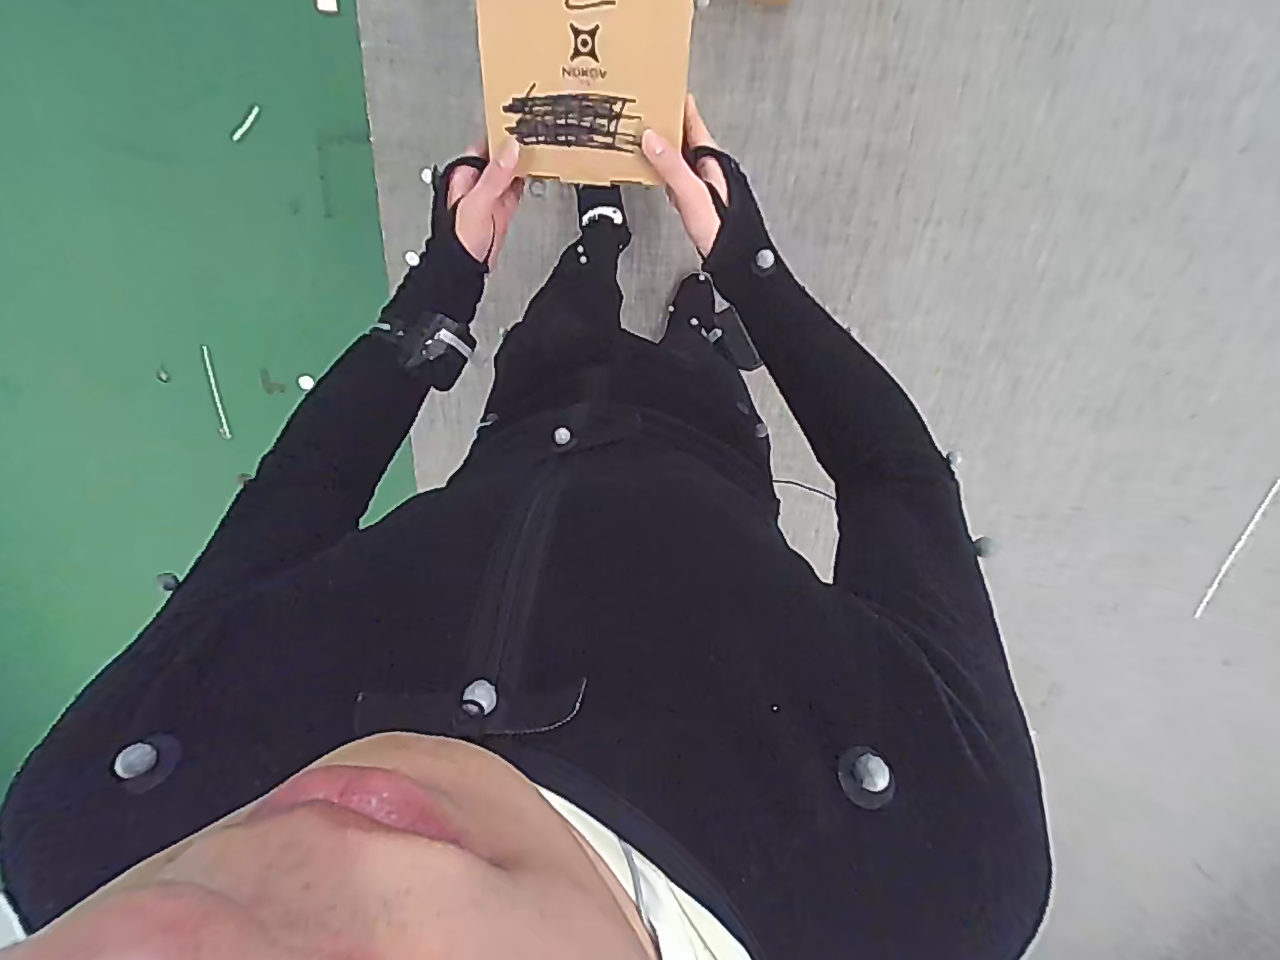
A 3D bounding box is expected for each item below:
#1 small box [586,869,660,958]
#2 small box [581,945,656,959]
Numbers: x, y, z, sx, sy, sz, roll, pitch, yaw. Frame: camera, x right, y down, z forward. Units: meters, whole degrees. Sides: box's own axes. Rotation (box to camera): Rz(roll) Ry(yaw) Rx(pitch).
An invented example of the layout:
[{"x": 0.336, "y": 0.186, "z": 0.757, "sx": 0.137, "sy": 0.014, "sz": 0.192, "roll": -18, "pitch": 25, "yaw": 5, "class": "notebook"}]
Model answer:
[{"x": -0.039, "y": 1.107, "z": 1.343, "sx": 0.168, "sy": 0.176, "sz": 0.179, "roll": 4, "pitch": 117, "yaw": 5, "class": "small box"}, {"x": -0.057, "y": 1.174, "z": 1.195, "sx": 0.179, "sy": 0.176, "sz": 0.168, "roll": 4, "pitch": 115, "yaw": 6, "class": "small box"}]
